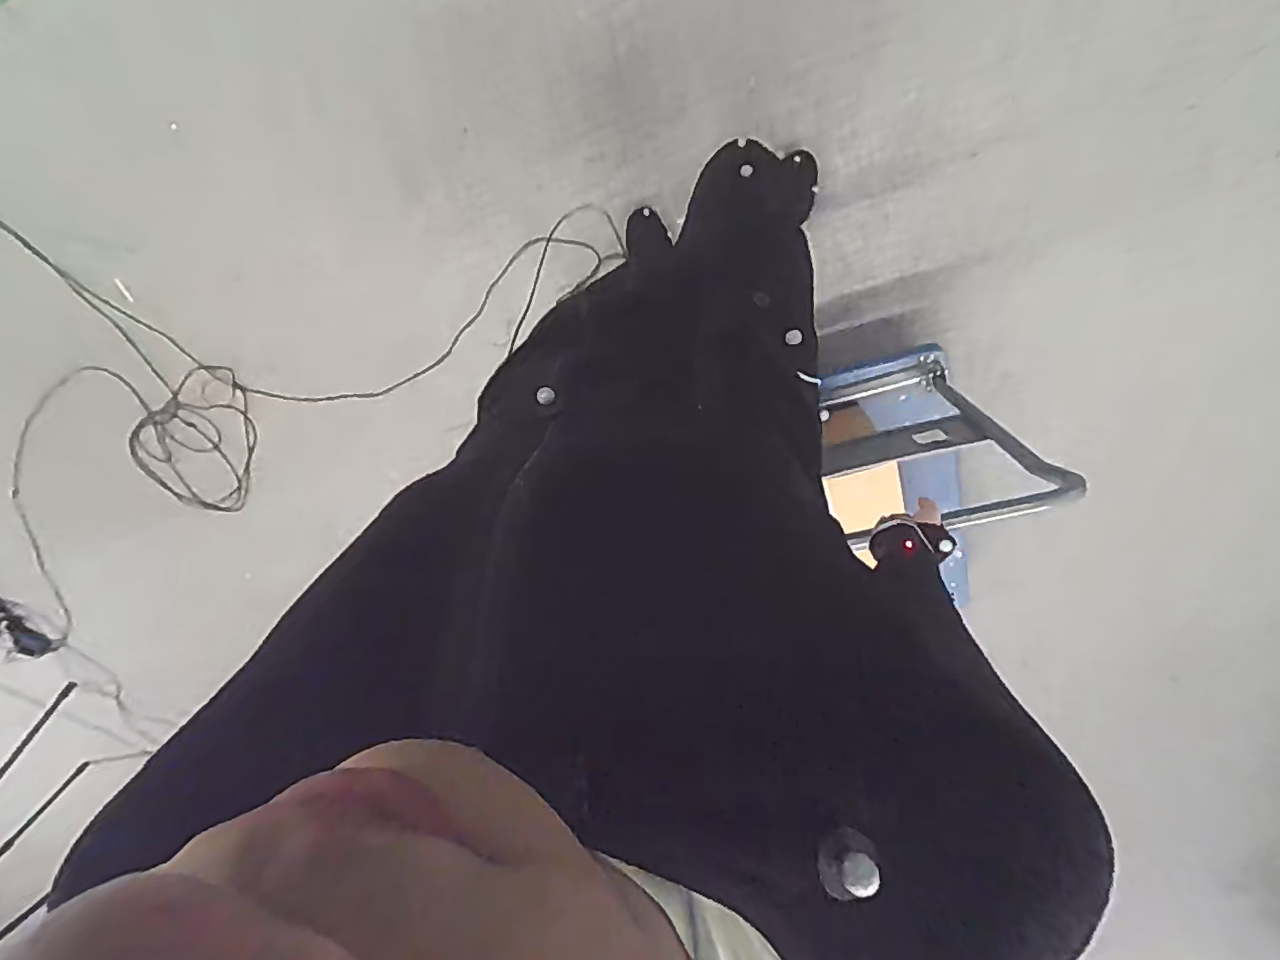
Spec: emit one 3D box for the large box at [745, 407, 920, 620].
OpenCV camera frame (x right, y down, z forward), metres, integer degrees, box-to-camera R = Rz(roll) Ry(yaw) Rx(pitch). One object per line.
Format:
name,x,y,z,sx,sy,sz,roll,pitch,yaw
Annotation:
large box,0.484,0.084,1.397,0.320,0.320,0.408,-15,118,15
